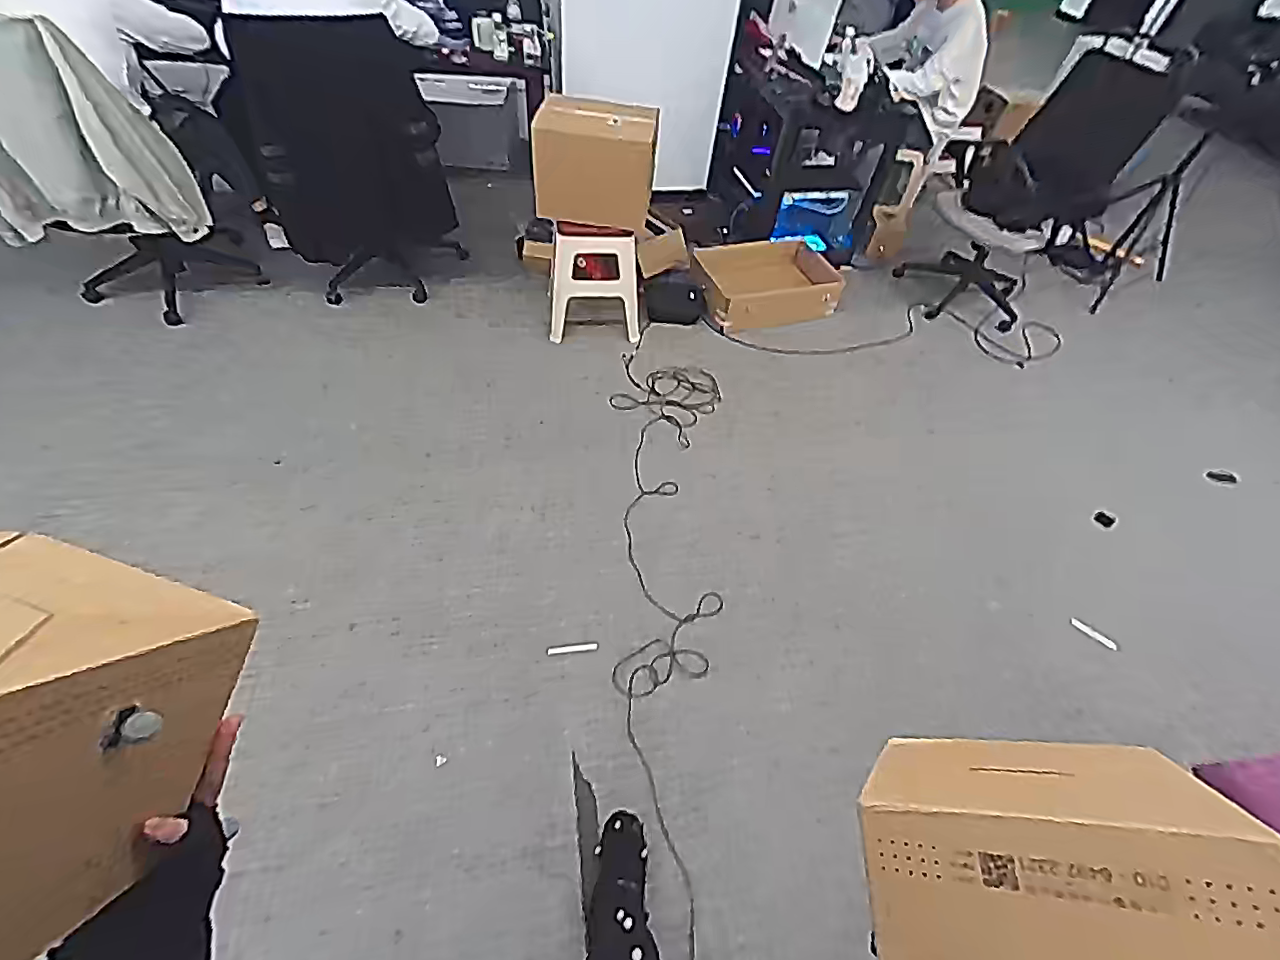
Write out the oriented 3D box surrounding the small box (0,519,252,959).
[{"bbox_3d":[-0.345,0.120,0.261,0.168,0.179,0.176,20,87,0],"label":"small box"}]
